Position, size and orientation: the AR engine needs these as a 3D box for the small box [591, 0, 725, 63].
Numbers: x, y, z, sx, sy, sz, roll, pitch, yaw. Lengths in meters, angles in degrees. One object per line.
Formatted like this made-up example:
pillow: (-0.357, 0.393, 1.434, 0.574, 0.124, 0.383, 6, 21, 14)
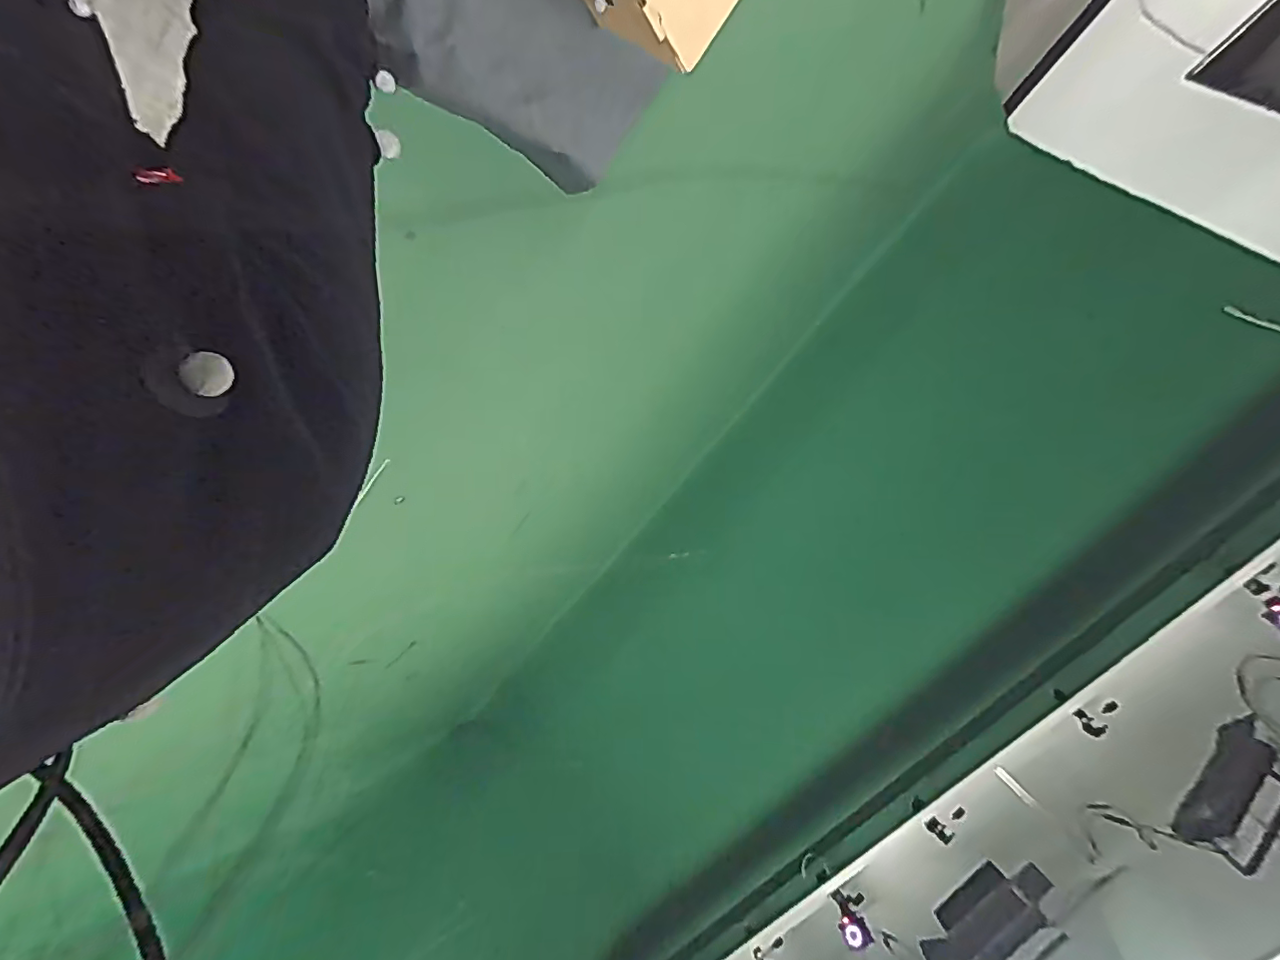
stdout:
small box: (0.011, -0.624, 0.589, 0.179, 0.176, 0.168, -50, 157, 17)
